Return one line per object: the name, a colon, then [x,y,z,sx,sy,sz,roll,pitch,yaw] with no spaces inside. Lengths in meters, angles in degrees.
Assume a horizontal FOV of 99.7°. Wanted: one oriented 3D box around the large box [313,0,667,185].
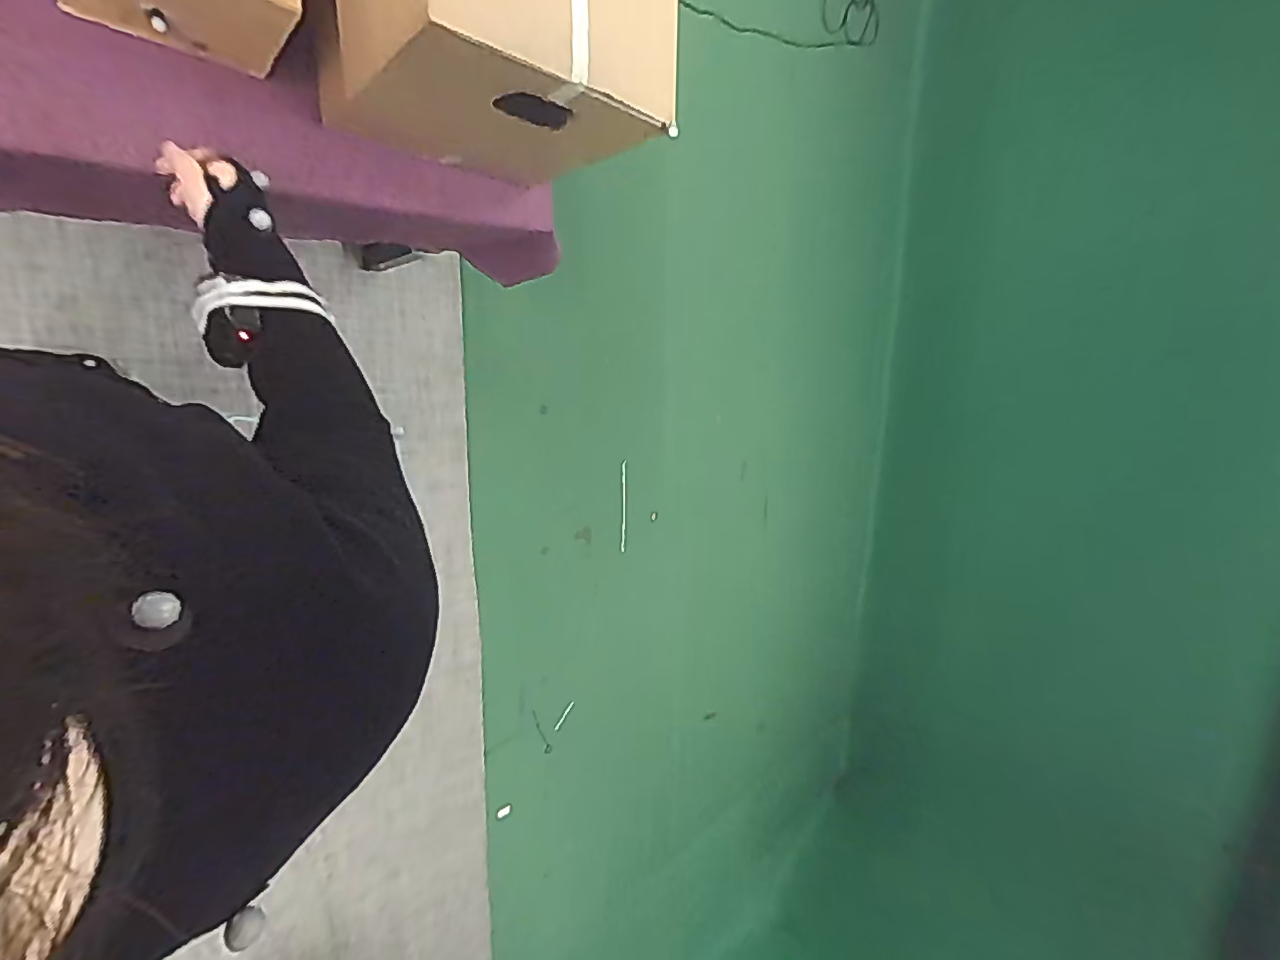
large box: [-0.180,-0.628,0.637,0.320,0.320,0.408,-11,107,-44]
